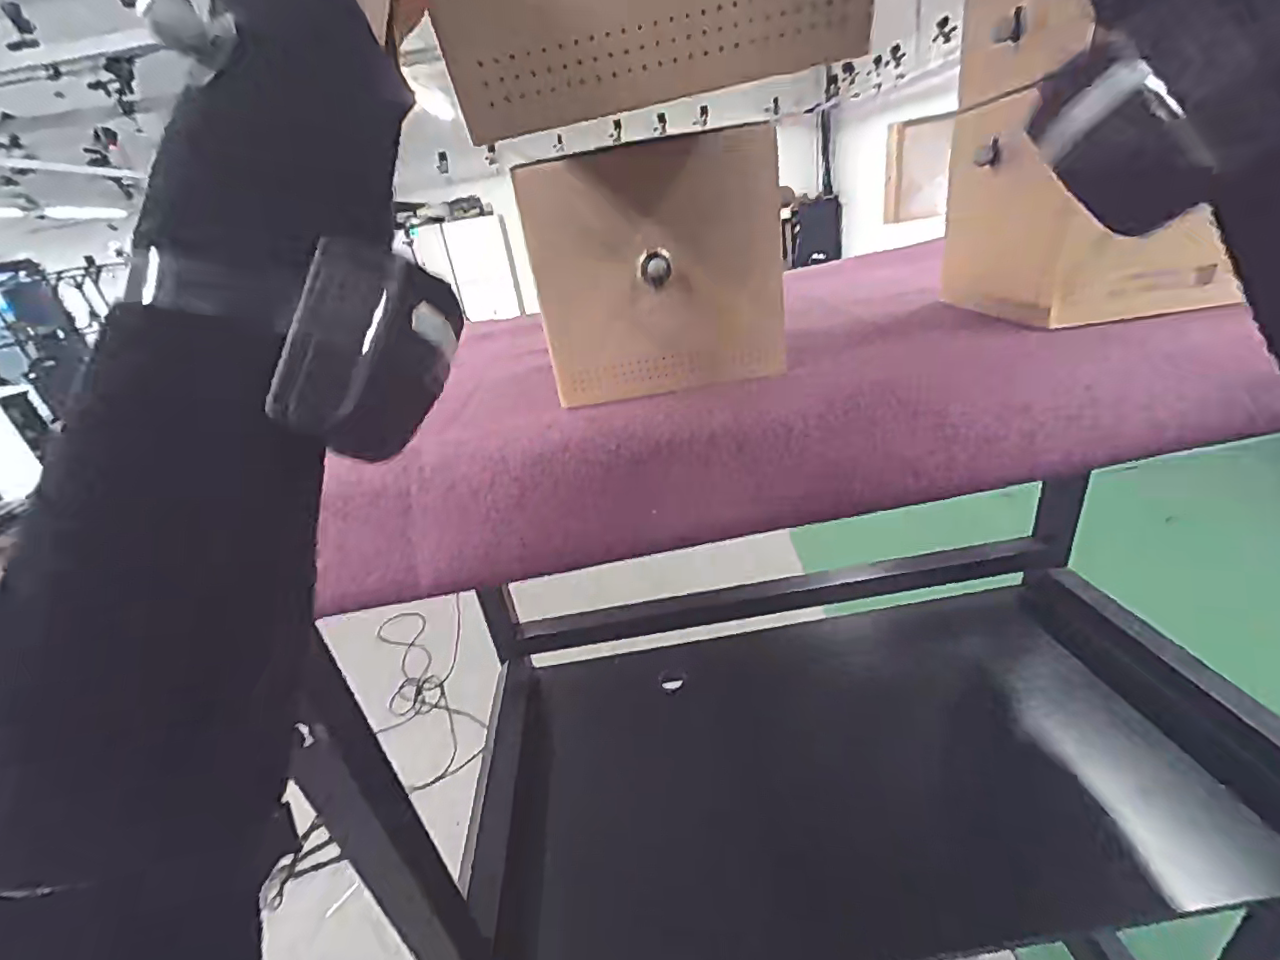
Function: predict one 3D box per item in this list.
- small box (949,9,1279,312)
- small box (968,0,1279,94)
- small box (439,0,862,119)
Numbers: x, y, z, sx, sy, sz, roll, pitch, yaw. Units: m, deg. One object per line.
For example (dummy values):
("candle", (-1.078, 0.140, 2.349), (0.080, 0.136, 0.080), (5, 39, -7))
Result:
("small box", (0.372, -0.235, 0.427), (0.168, 0.176, 0.179), (-7, 25, 5))
("small box", (0.349, -0.382, 0.359), (0.168, 0.176, 0.179), (-6, 26, 6))
("small box", (-0.005, -0.274, 0.219), (0.179, 0.176, 0.168), (-13, 44, 0))
